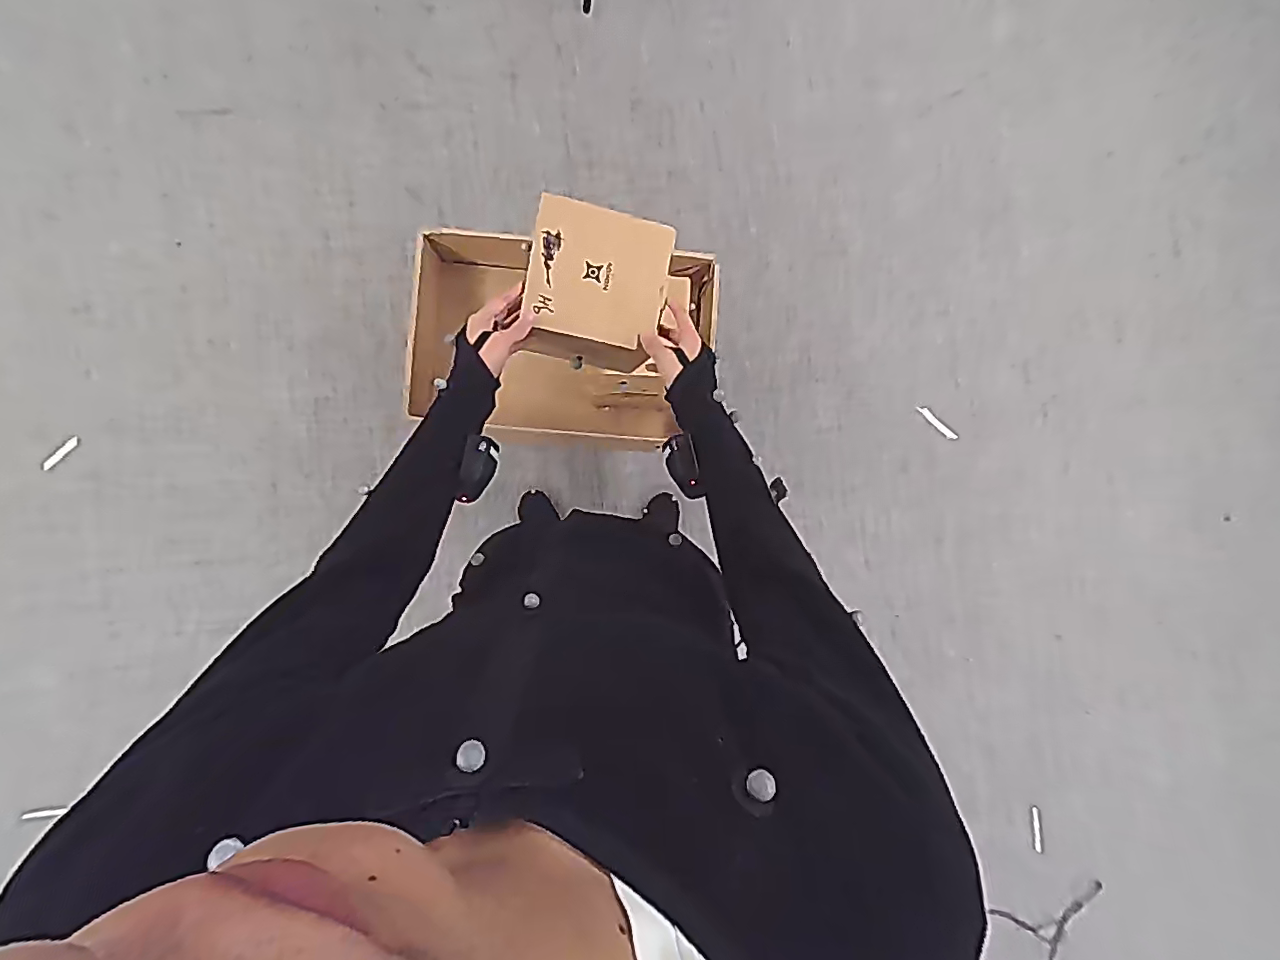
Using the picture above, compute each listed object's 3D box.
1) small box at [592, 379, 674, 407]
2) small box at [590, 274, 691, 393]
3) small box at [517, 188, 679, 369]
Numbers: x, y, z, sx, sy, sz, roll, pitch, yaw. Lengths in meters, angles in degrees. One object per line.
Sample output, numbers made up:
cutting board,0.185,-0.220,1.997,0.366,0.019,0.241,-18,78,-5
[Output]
small box,-0.014,-0.253,1.142,0.168,0.176,0.179,2,88,-4
small box,-0.002,-0.258,0.980,0.168,0.176,0.179,2,88,-4
small box,-0.066,-0.256,0.738,0.179,0.176,0.168,11,90,-12
